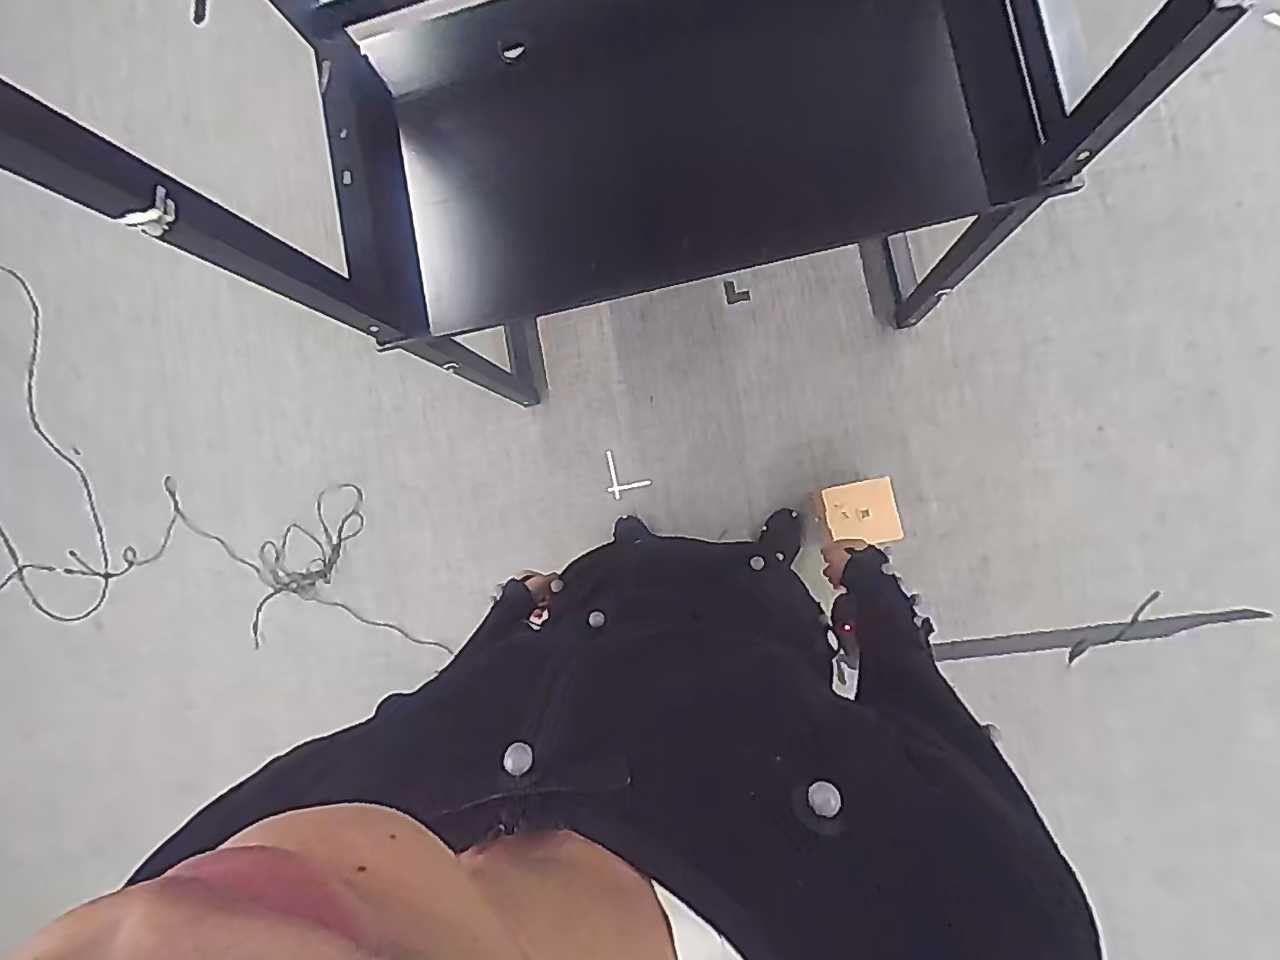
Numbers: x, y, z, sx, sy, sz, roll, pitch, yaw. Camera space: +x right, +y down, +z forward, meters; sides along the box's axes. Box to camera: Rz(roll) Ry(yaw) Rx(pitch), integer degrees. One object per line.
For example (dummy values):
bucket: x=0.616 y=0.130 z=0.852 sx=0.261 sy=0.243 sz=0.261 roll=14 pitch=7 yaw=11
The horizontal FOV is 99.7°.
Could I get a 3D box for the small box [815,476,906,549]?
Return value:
small box: x=0.592 y=0.086 z=1.469 sx=0.179 sy=0.176 sz=0.168 roll=-12 pitch=86 yaw=9
